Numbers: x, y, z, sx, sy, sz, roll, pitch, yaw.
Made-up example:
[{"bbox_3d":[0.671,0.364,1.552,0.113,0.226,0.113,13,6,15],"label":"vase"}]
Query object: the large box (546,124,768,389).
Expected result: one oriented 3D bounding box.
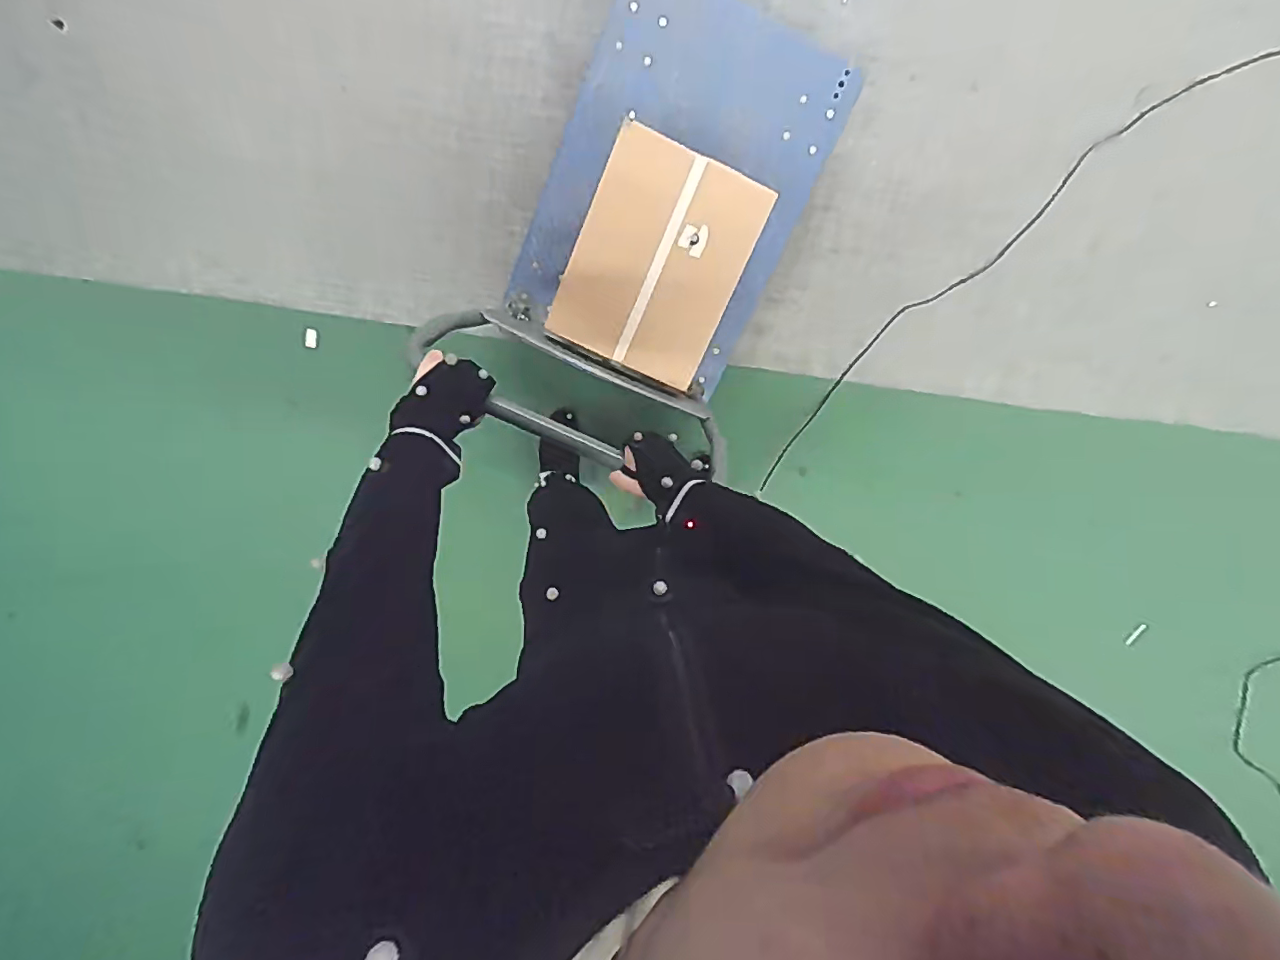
[{"bbox_3d":[0.026,-0.448,1.184,0.320,0.320,0.408,23,102,-7],"label":"large box"}]
